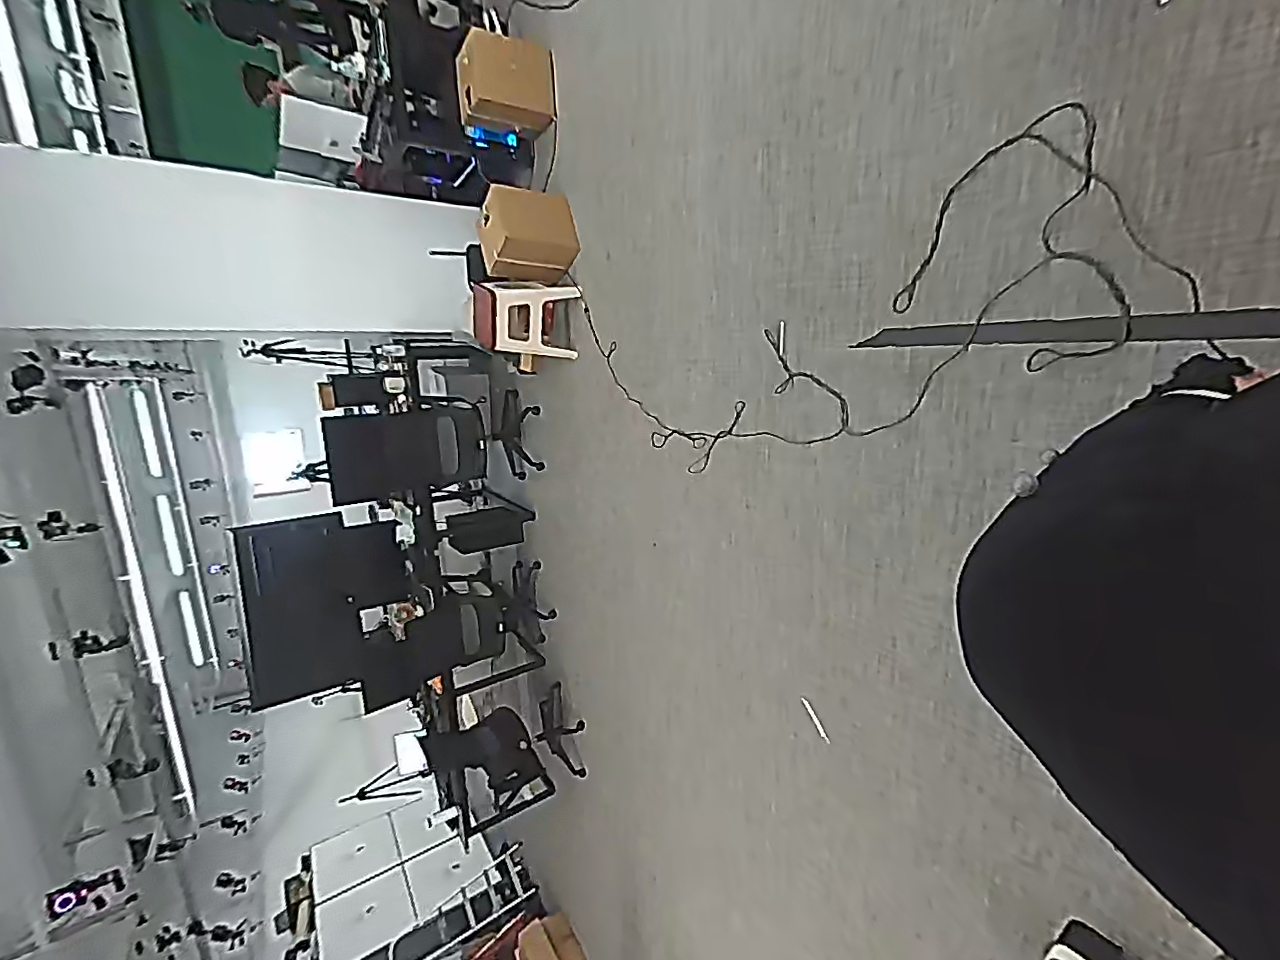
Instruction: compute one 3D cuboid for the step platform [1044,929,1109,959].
[{"bbox_3d":[1.156,1.286,1.039,0.684,0.204,0.286,15,111,54],"label":"step platform"}]
